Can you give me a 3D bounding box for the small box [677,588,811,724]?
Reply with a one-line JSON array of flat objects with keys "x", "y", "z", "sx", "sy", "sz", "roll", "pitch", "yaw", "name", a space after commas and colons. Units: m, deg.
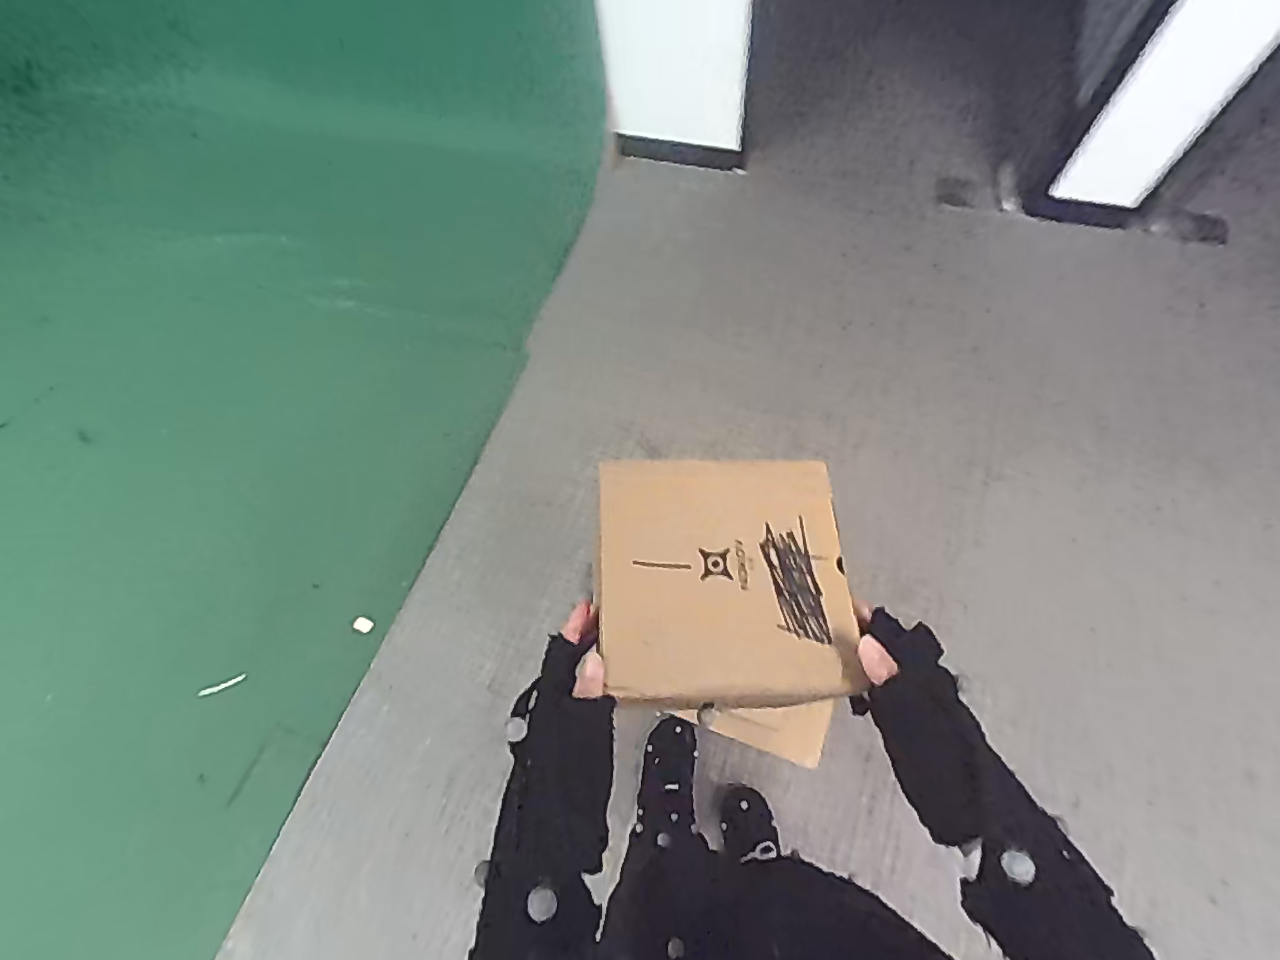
[{"x": 0.173, "y": 0.302, "z": 0.923, "sx": 0.179, "sy": 0.176, "sz": 0.168, "roll": 16, "pitch": 72, "yaw": 12, "name": "small box"}]
